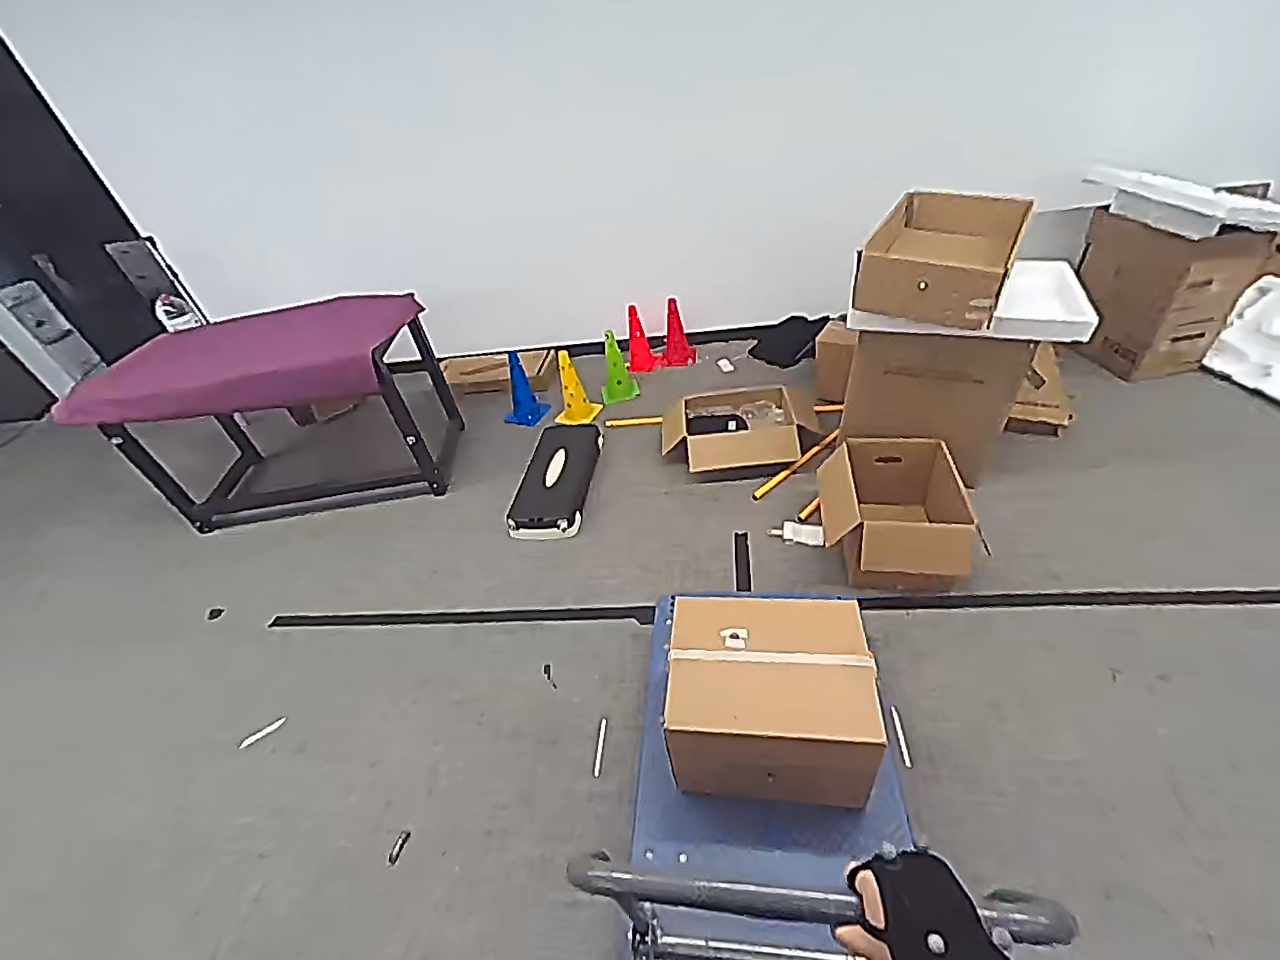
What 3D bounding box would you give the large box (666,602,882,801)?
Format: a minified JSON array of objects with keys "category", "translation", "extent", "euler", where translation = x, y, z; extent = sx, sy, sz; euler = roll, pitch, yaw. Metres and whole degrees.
[{"category":"large box","translation":[0.284,0.494,1.218],"extent":[0.408,0.320,0.320],"euler":[-3,39,11]}]
